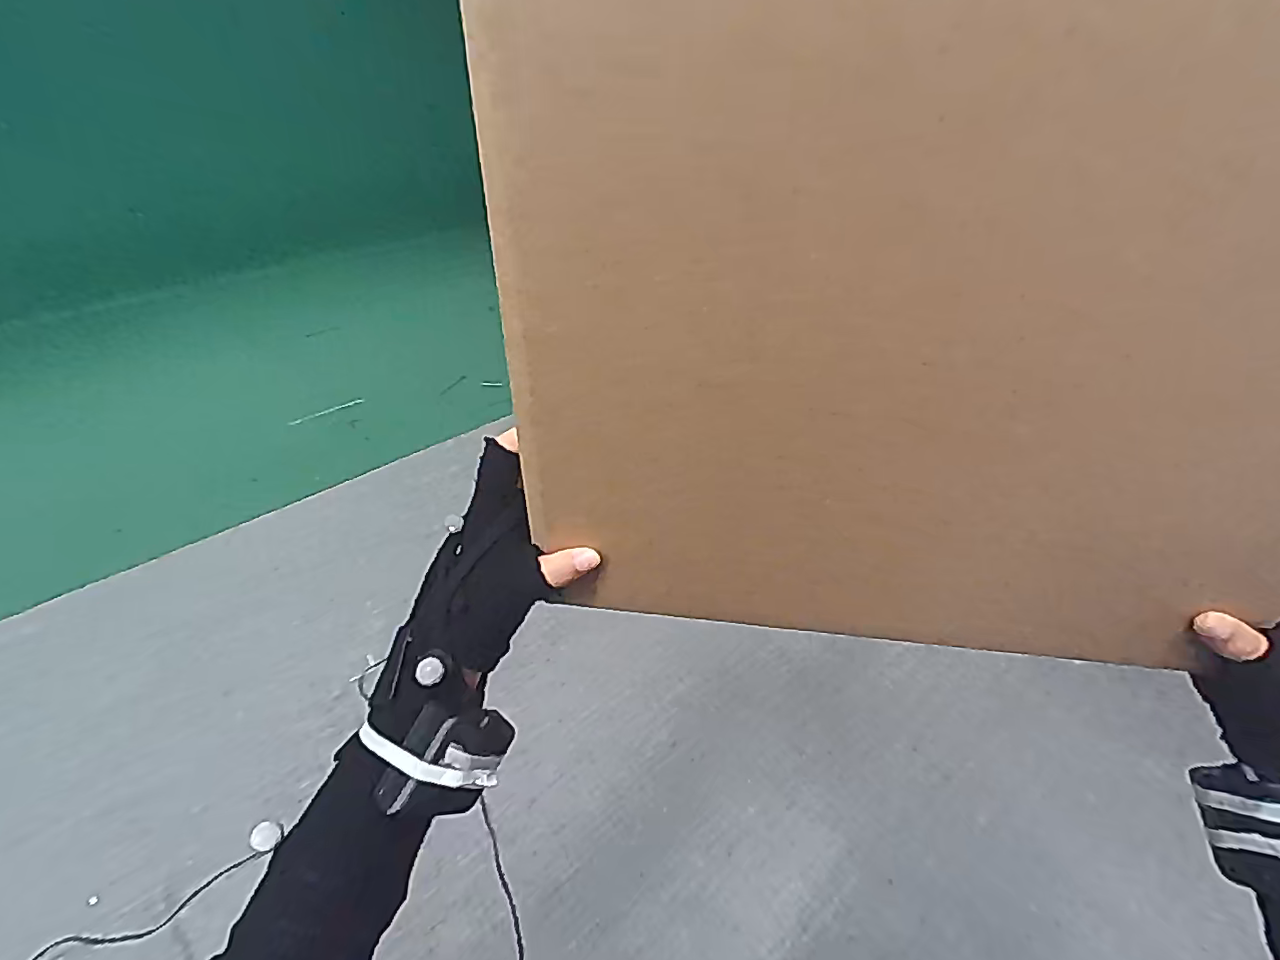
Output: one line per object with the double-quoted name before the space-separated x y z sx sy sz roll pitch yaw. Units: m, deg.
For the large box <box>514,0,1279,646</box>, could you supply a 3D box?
"large box" 0.157 -0.120 0.351 0.408 0.320 0.320 5 41 1
